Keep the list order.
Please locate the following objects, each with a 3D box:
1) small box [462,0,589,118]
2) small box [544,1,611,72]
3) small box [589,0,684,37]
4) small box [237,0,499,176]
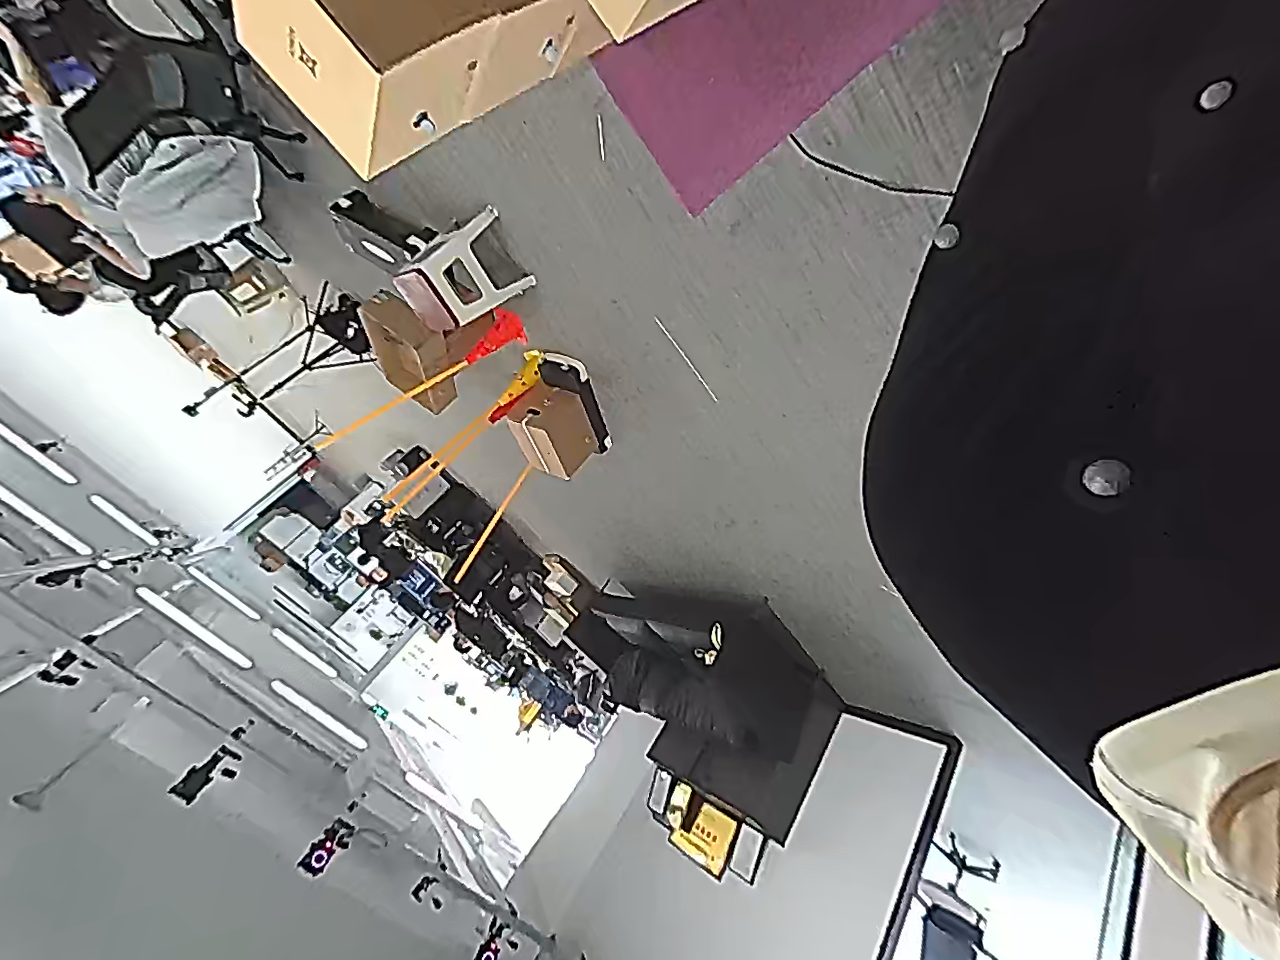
[{"bbox_3d":[-0.186,-0.586,0.633,0.179,0.176,0.168,47,153,-18],"label":"small box"},{"bbox_3d":[-0.093,-0.699,0.707,0.179,0.176,0.168,48,153,-18],"label":"small box"},{"bbox_3d":[0.018,-0.536,0.449,0.179,0.176,0.168,50,152,-18],"label":"small box"},{"bbox_3d":[-0.278,-0.473,0.562,0.179,0.176,0.168,48,153,-17],"label":"small box"}]
